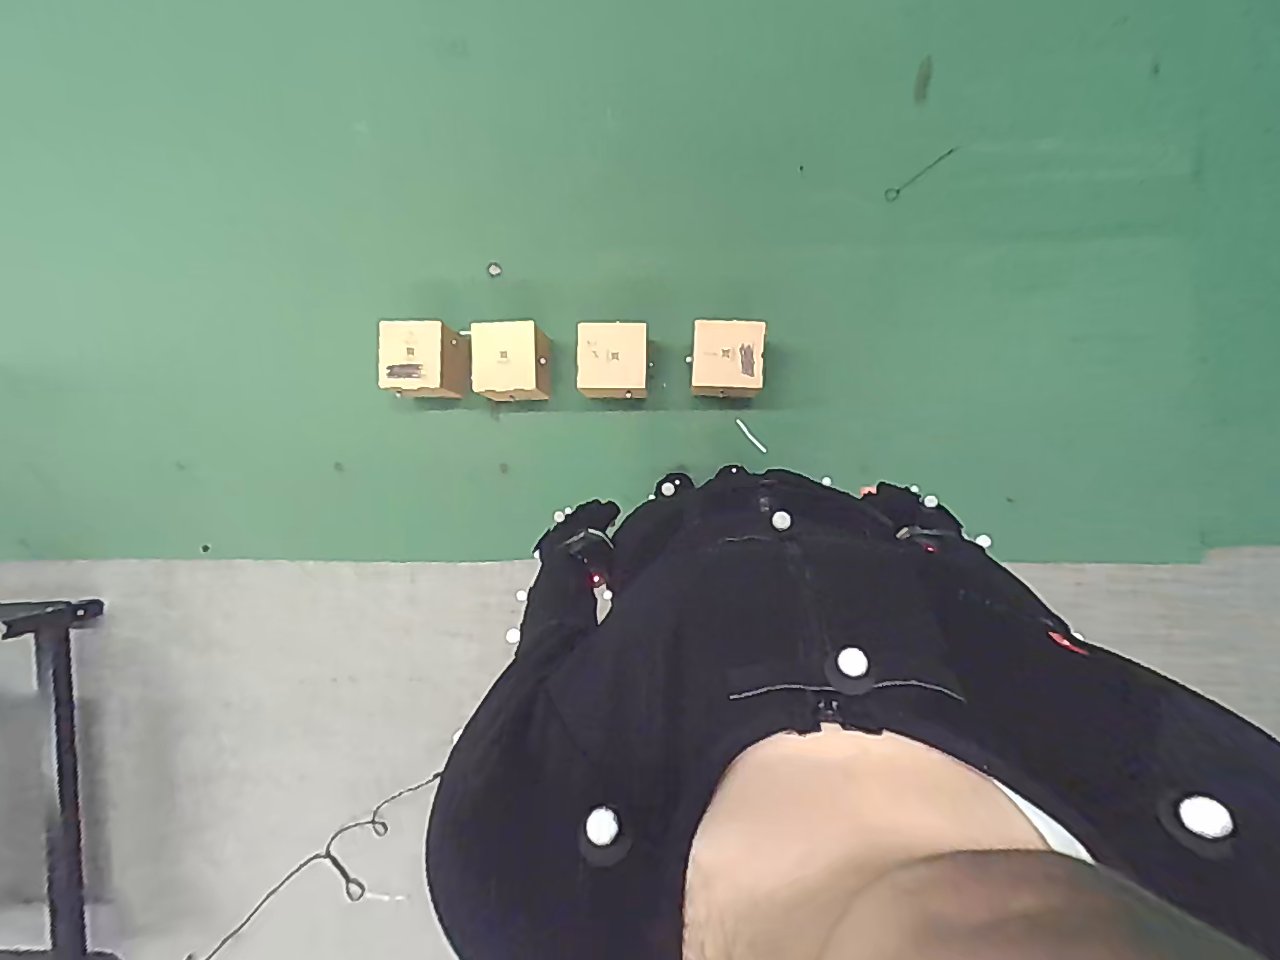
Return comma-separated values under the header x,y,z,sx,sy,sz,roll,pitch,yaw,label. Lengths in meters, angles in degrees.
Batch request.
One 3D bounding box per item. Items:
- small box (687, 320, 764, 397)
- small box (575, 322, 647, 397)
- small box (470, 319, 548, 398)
x,y,z,sx,sy,sz,roll,pitch,yaw,label
0.217,-0.311,1.409,0.179,0.176,0.168,3,91,4,small box
-0.071,-0.313,1.425,0.179,0.176,0.168,2,91,3,small box
-0.346,-0.318,1.443,0.168,0.176,0.179,-1,92,3,small box
